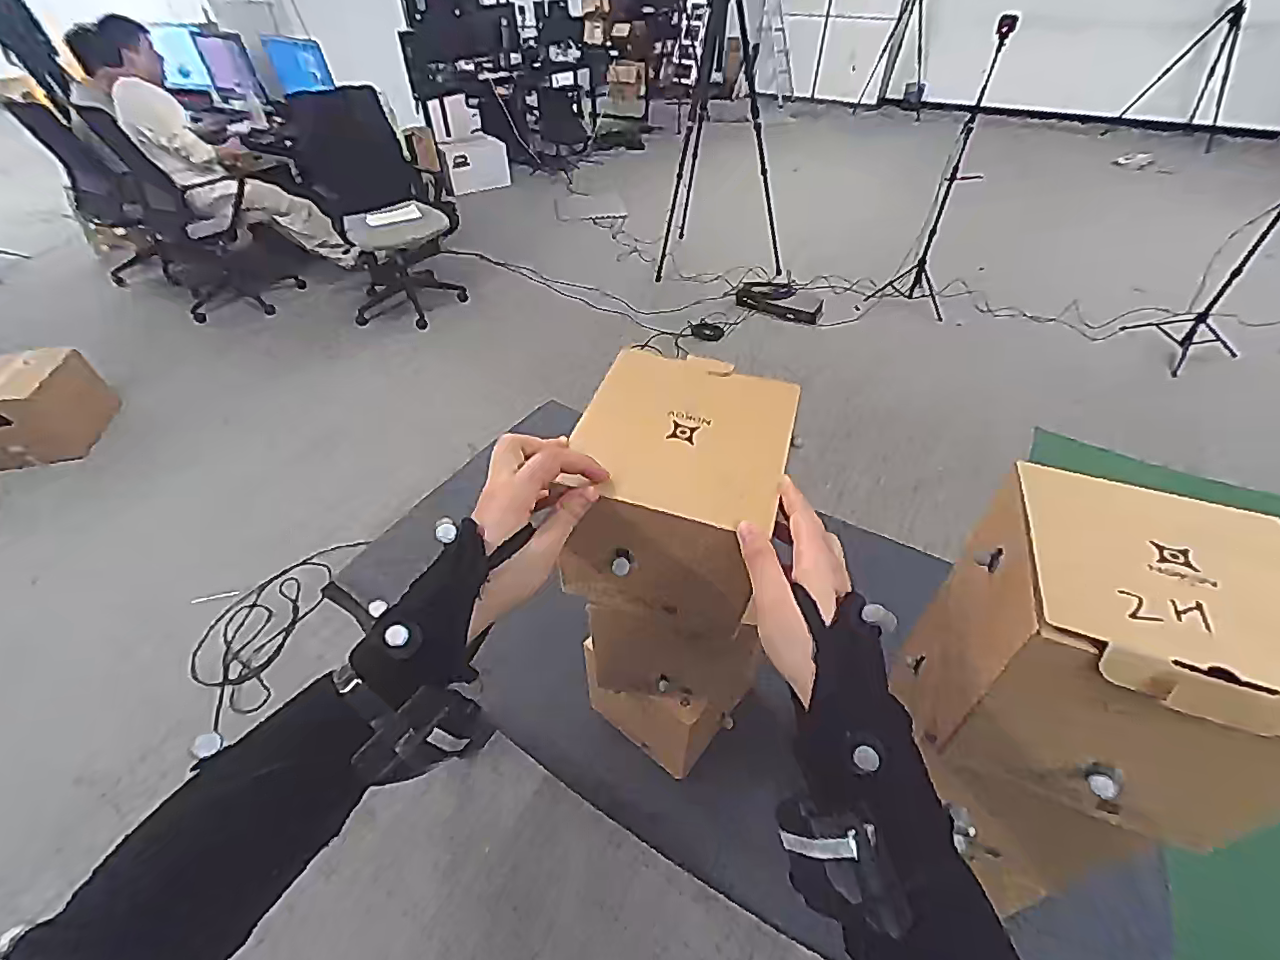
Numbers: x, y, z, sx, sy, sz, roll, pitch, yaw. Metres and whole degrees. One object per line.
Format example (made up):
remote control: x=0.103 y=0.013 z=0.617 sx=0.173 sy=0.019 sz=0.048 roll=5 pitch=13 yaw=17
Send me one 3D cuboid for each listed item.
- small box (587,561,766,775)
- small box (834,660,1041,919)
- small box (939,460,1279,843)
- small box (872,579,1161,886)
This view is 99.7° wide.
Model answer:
small box: x=0.045 y=0.252 z=0.733 sx=0.168 sy=0.176 sz=0.179 roll=29 pitch=49 yaw=28
small box: x=0.338 y=0.353 z=0.622 sx=0.168 sy=0.176 sz=0.179 roll=22 pitch=45 yaw=22
small box: x=0.333 y=0.116 z=0.394 sx=0.168 sy=0.176 sz=0.179 roll=14 pitch=43 yaw=18
small box: x=0.335 y=0.234 z=0.512 sx=0.168 sy=0.176 sz=0.179 roll=18 pitch=46 yaw=21
